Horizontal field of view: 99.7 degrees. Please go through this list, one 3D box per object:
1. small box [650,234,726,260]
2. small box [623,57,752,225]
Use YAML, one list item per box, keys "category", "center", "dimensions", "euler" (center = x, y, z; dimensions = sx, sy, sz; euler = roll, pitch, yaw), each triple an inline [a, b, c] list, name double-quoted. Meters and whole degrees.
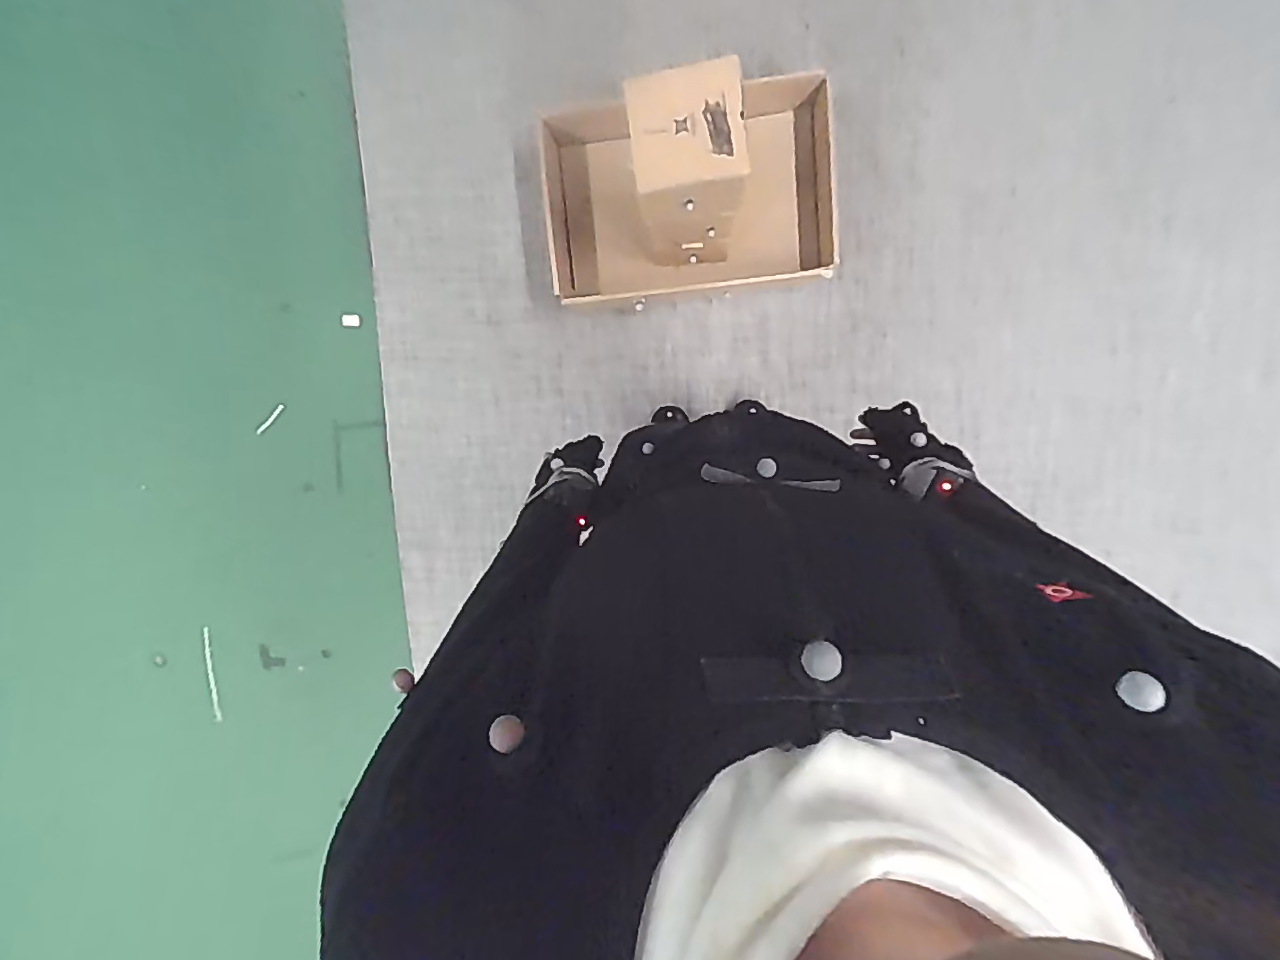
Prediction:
- category: "small box"
  center: [0.110, -0.603, 1.215]
  dimensions: [0.168, 0.176, 0.179]
  euler: [-1, 99, 7]
- category: "small box"
  center: [0.078, -0.546, 0.896]
  dimensions: [0.179, 0.176, 0.168]
  euler: [-10, 98, 6]
